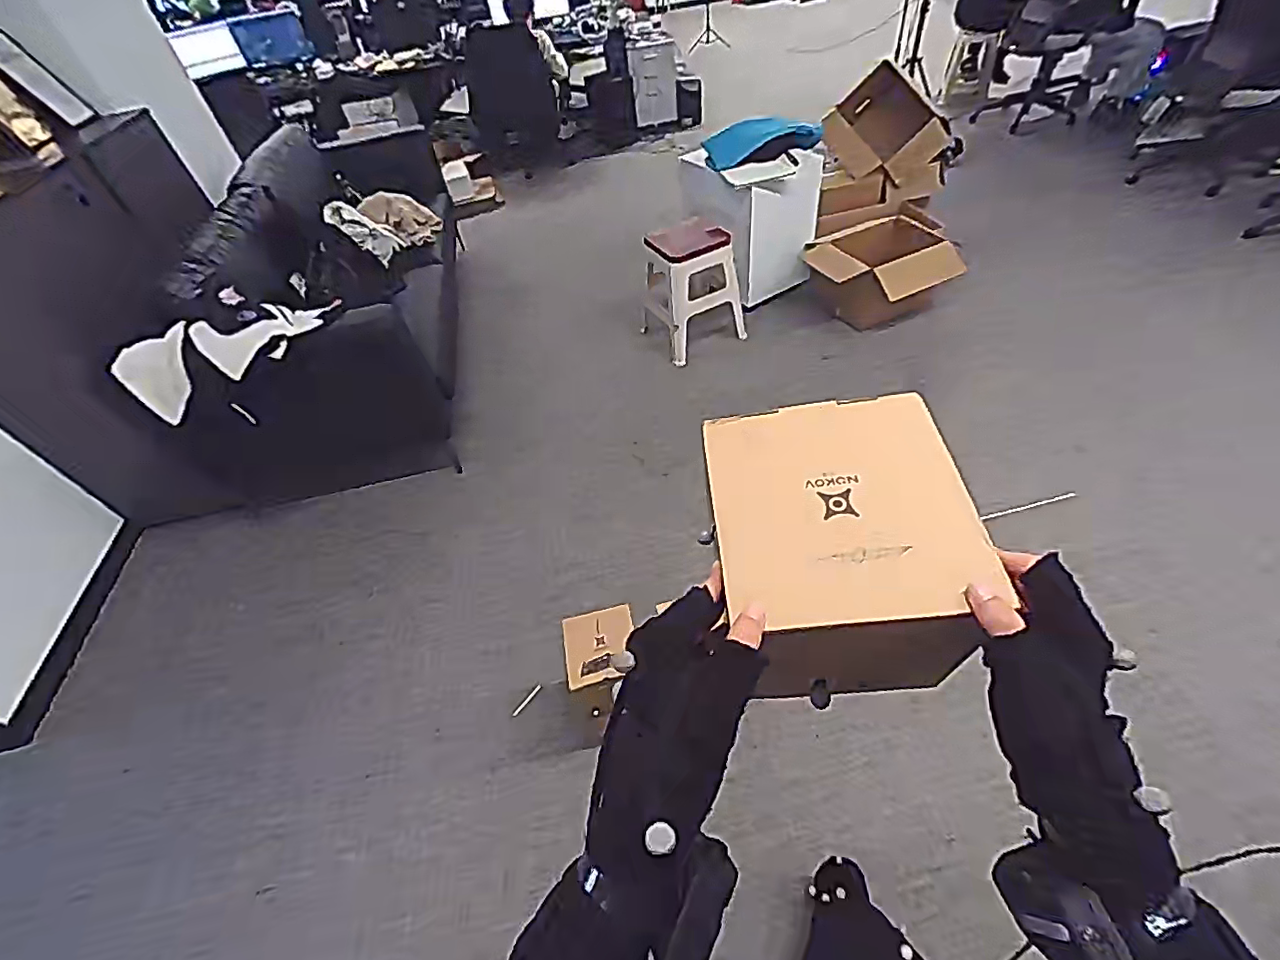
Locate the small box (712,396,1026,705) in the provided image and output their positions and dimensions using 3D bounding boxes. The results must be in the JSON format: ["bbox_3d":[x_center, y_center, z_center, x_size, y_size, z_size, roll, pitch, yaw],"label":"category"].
[{"bbox_3d":[0.148,0.062,0.427,0.168,0.176,0.179,-7,54,6],"label":"small box"}]

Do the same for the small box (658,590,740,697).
[{"bbox_3d":[0.155,0.392,1.285,0.179,0.176,0.168,-15,48,-4],"label":"small box"}]
